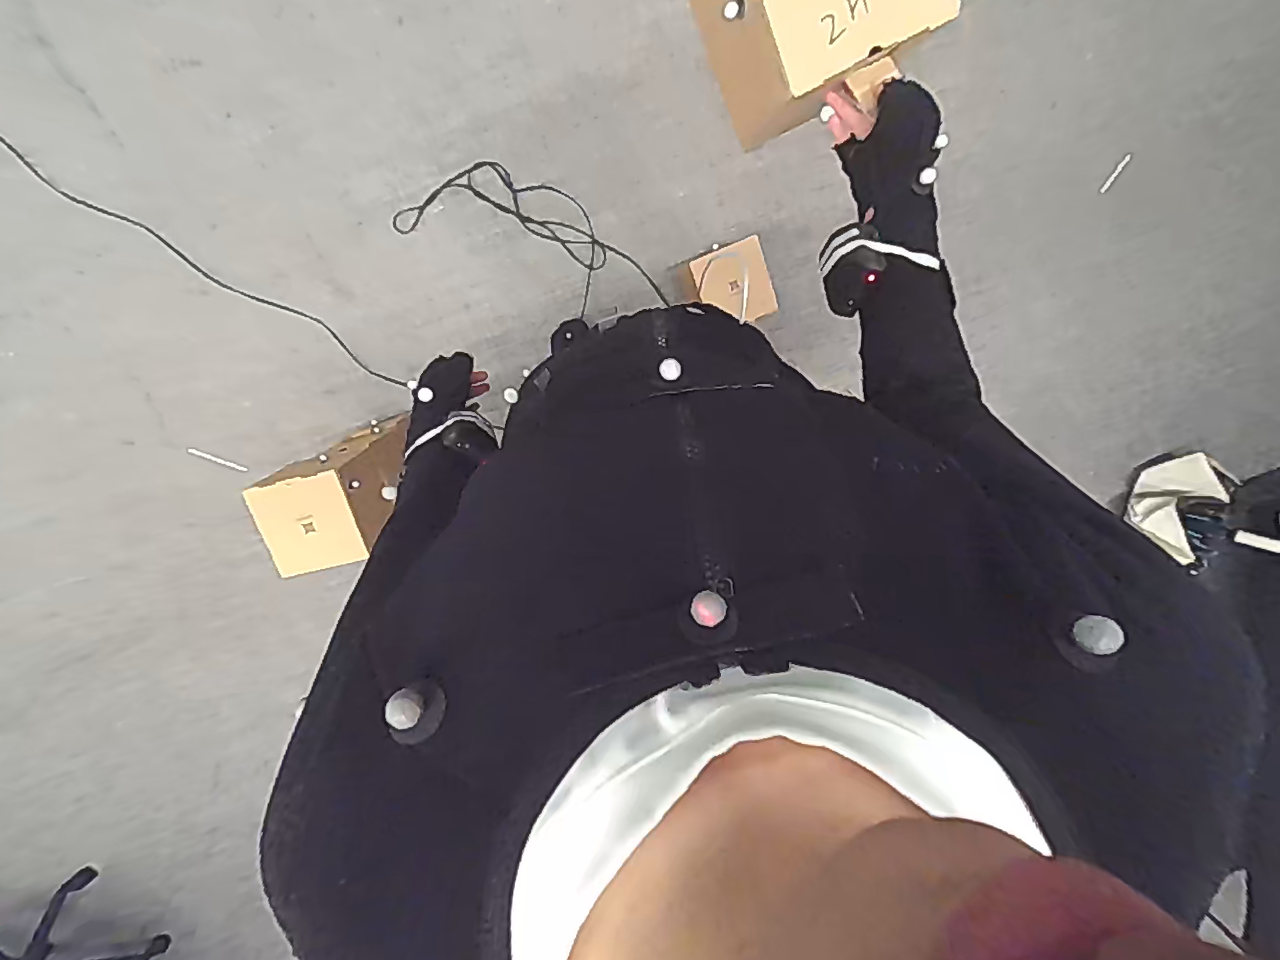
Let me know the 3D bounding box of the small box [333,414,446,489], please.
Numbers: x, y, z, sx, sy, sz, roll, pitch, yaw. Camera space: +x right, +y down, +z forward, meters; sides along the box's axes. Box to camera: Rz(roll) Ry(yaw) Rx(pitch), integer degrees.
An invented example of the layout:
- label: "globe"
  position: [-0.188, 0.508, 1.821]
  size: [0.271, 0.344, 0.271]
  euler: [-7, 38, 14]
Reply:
- label: "small box"
  position: [-0.614, -0.055, 1.349]
  size: [0.168, 0.176, 0.179]
  euler: [-20, 107, 4]

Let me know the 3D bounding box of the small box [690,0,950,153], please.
- label: "small box"
  position: [0.164, -0.470, 0.540]
  size: [0.168, 0.176, 0.179]
  euler: [-25, 107, 3]

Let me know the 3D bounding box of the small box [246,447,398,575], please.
- label: "small box"
  position: [-0.594, 0.053, 1.039]
  size: [0.168, 0.176, 0.179]
  euler: [-13, 108, -1]

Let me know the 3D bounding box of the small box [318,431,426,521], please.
- label: "small box"
  position: [-0.601, 0.002, 1.193]
  size: [0.168, 0.176, 0.179]
  euler: [-18, 110, 0]

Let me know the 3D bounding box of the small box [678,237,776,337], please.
- label: "small box"
  position: [0.205, -0.461, 1.301]
  size: [0.168, 0.176, 0.179]
  euler: [-22, 109, 1]
